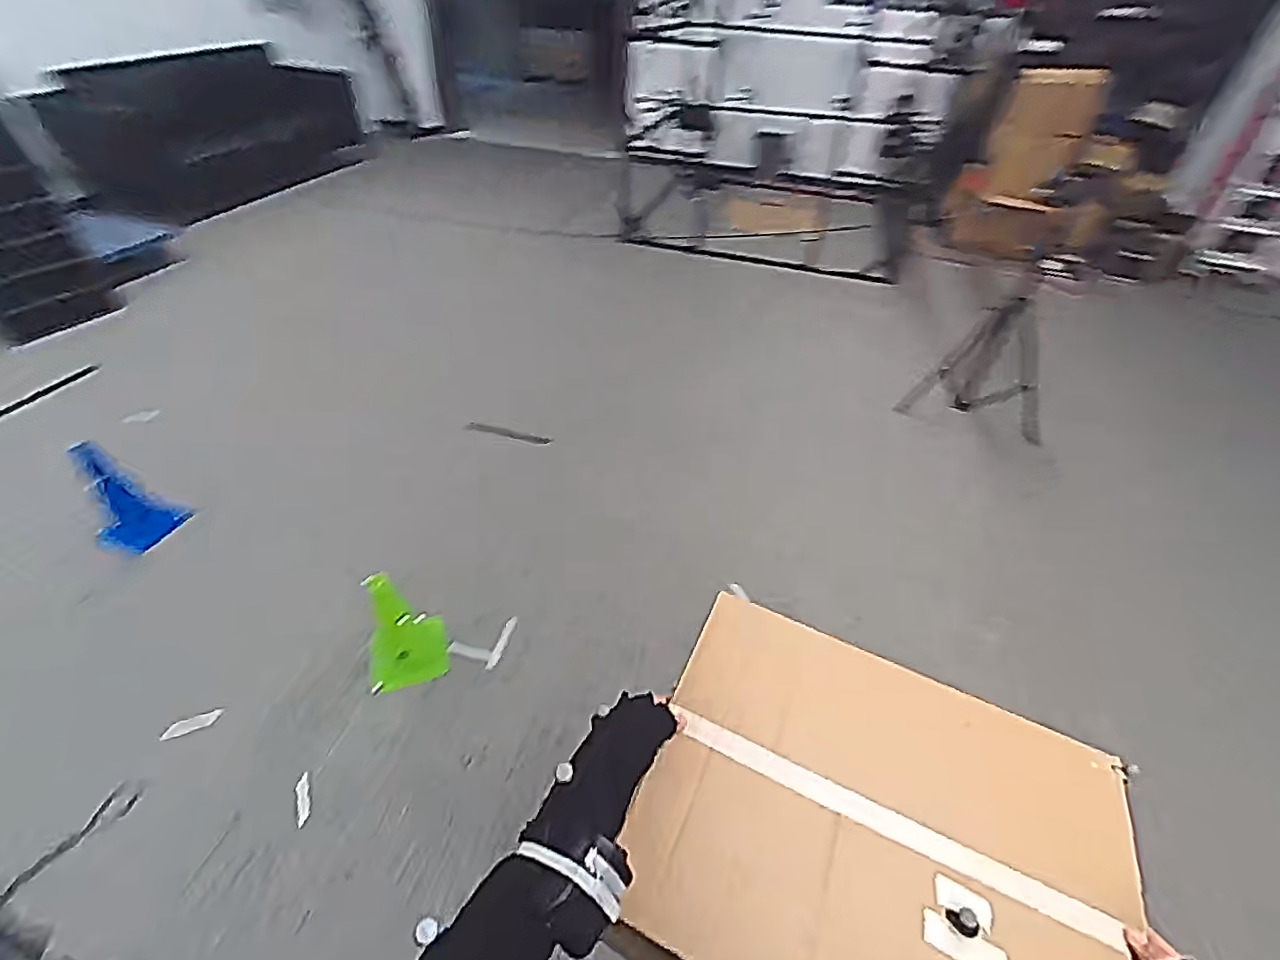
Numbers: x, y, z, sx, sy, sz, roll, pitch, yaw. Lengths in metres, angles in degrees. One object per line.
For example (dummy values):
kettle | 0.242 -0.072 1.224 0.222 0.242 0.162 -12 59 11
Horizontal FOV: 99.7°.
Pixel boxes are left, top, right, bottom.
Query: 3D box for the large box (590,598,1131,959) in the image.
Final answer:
large box | 0.190 0.397 0.580 0.408 0.320 0.320 20 48 14

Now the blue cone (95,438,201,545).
blue cone | -1.681 0.025 1.789 0.193 0.380 0.192 16 43 12

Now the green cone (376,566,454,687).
green cone | -0.649 0.370 1.479 0.200 0.368 0.202 -12 44 -18
